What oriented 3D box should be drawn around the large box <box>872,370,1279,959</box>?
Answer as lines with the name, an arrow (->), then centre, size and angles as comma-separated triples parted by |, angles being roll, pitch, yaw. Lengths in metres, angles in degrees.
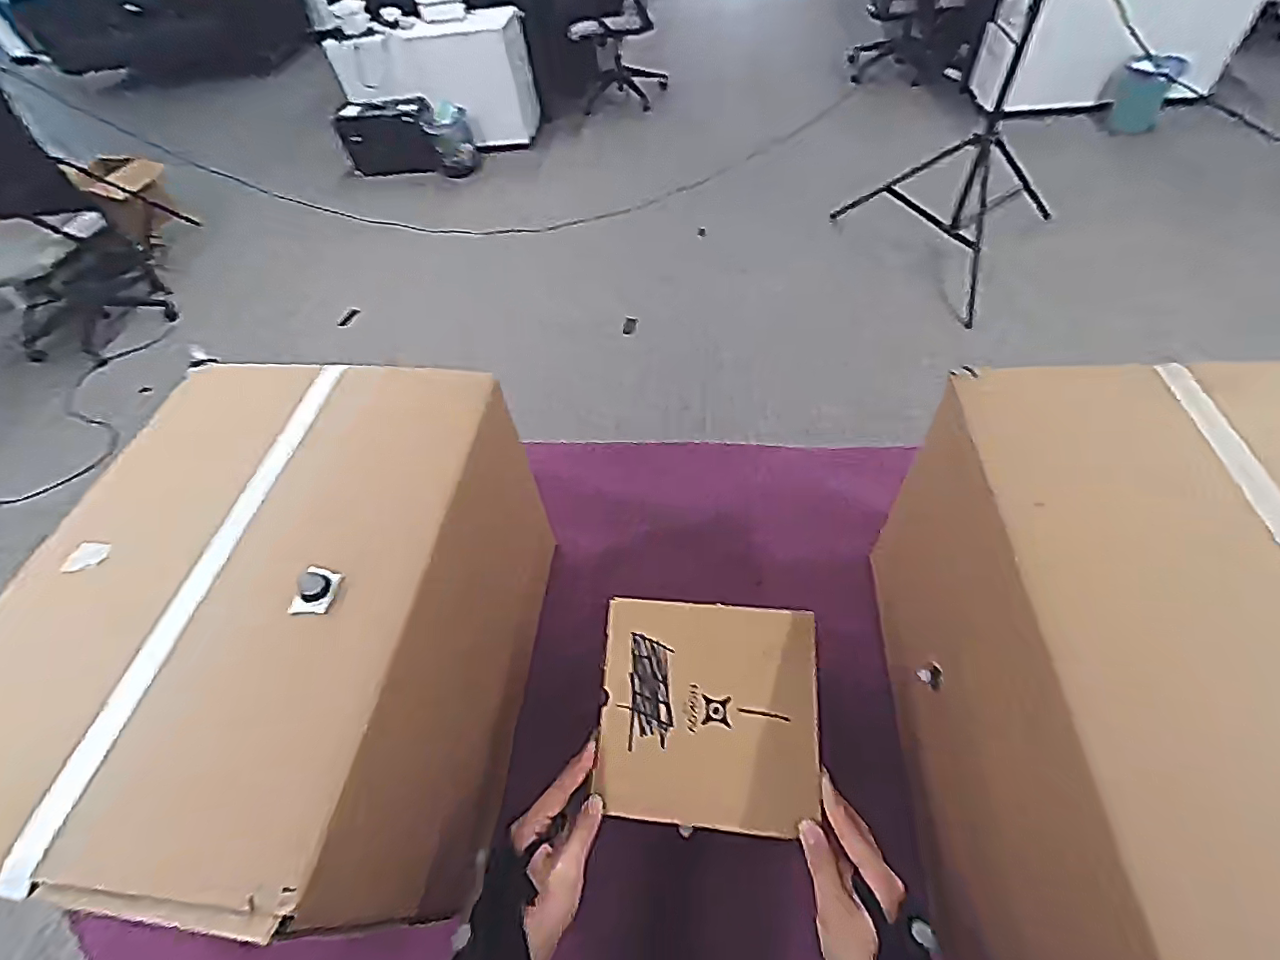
large box -> 0.403, 0.166, 0.423 | 0.320, 0.320, 0.408 | 1, 51, 8
